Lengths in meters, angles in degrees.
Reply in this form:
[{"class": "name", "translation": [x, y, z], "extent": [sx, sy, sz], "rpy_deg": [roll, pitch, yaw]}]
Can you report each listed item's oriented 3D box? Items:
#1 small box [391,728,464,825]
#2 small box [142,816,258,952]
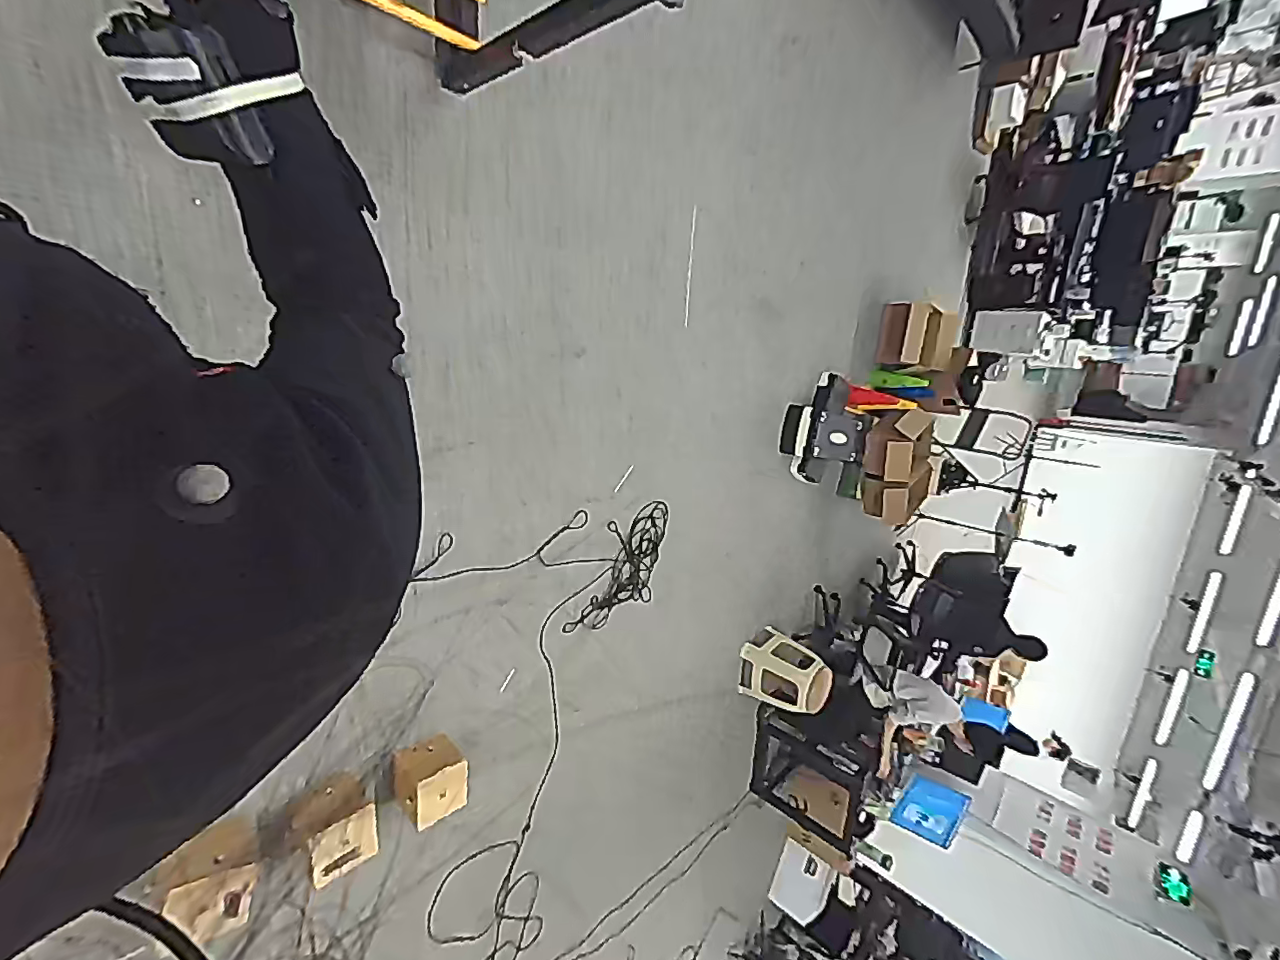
[{"class": "small box", "translation": [-0.681, 0.938, 1.728], "extent": [0.168, 0.176, 0.179], "rpy_deg": [-10, 109, -47]}, {"class": "small box", "translation": [-1.060, 0.955, 1.301], "extent": [0.179, 0.176, 0.168], "rpy_deg": [11, 93, -48]}]
